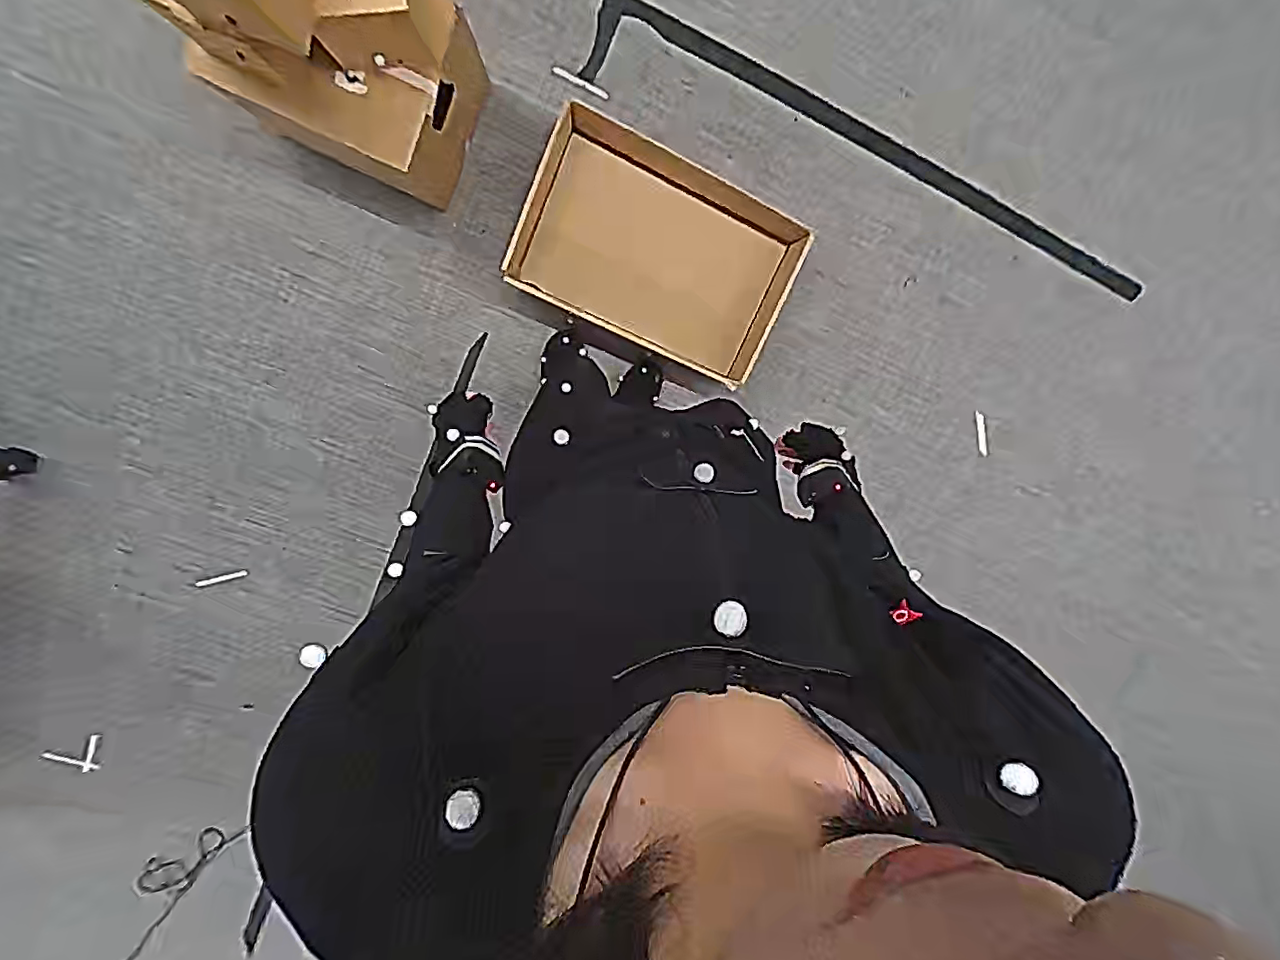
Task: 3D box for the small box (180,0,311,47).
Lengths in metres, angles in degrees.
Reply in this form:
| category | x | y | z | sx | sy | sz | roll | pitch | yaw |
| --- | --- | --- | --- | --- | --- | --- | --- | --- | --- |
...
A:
| category | x | y | z | sx | sy | sz | roll | pitch | yaw |
| --- | --- | --- | --- | --- | --- | --- | --- | --- | --- |
| small box | -0.554 | -0.724 | 0.713 | 0.179 | 0.176 | 0.168 | 16 | 103 | -8 |

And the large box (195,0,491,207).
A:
| category | x | y | z | sx | sy | sz | roll | pitch | yaw |
| --- | --- | --- | --- | --- | --- | --- | --- | --- | --- |
| large box | -0.569 | -0.828 | 1.107 | 0.408 | 0.320 | 0.320 | 21 | 102 | -11 |

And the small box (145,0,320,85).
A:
| category | x | y | z | sx | sy | sz | roll | pitch | yaw |
| --- | --- | --- | --- | --- | --- | --- | --- | --- | --- |
| small box | -0.645 | -0.783 | 0.860 | 0.168 | 0.176 | 0.179 | 20 | 100 | -12 |
